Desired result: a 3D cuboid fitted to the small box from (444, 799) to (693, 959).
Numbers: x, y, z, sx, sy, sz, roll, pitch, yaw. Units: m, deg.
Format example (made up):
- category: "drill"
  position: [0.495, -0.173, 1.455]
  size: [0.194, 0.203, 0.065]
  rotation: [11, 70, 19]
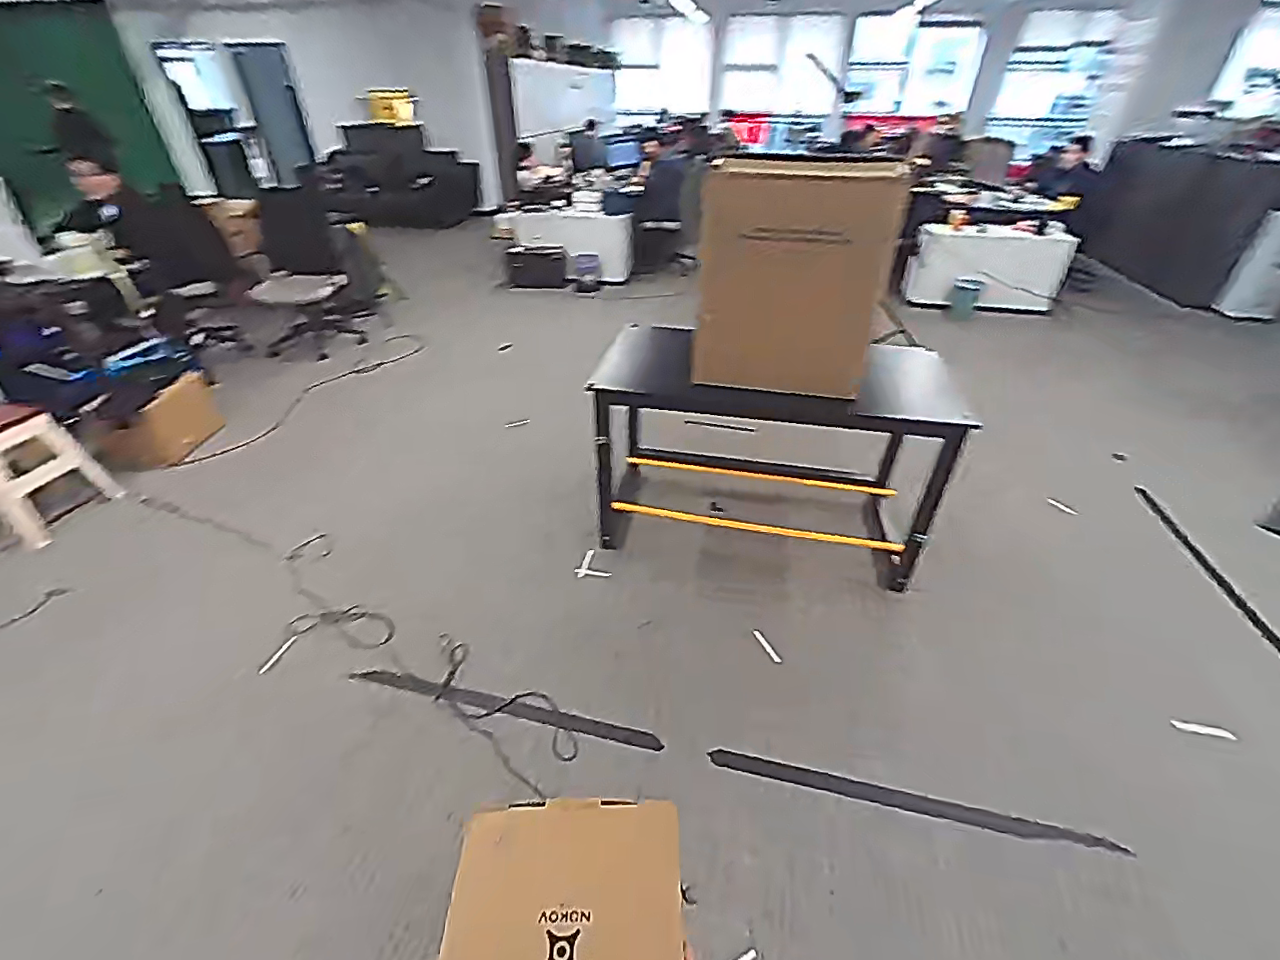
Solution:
- category: "small box"
  position: [-0.045, 0.369, 0.409]
  size: [0.168, 0.176, 0.179]
  rotation: [-1, 39, 2]
